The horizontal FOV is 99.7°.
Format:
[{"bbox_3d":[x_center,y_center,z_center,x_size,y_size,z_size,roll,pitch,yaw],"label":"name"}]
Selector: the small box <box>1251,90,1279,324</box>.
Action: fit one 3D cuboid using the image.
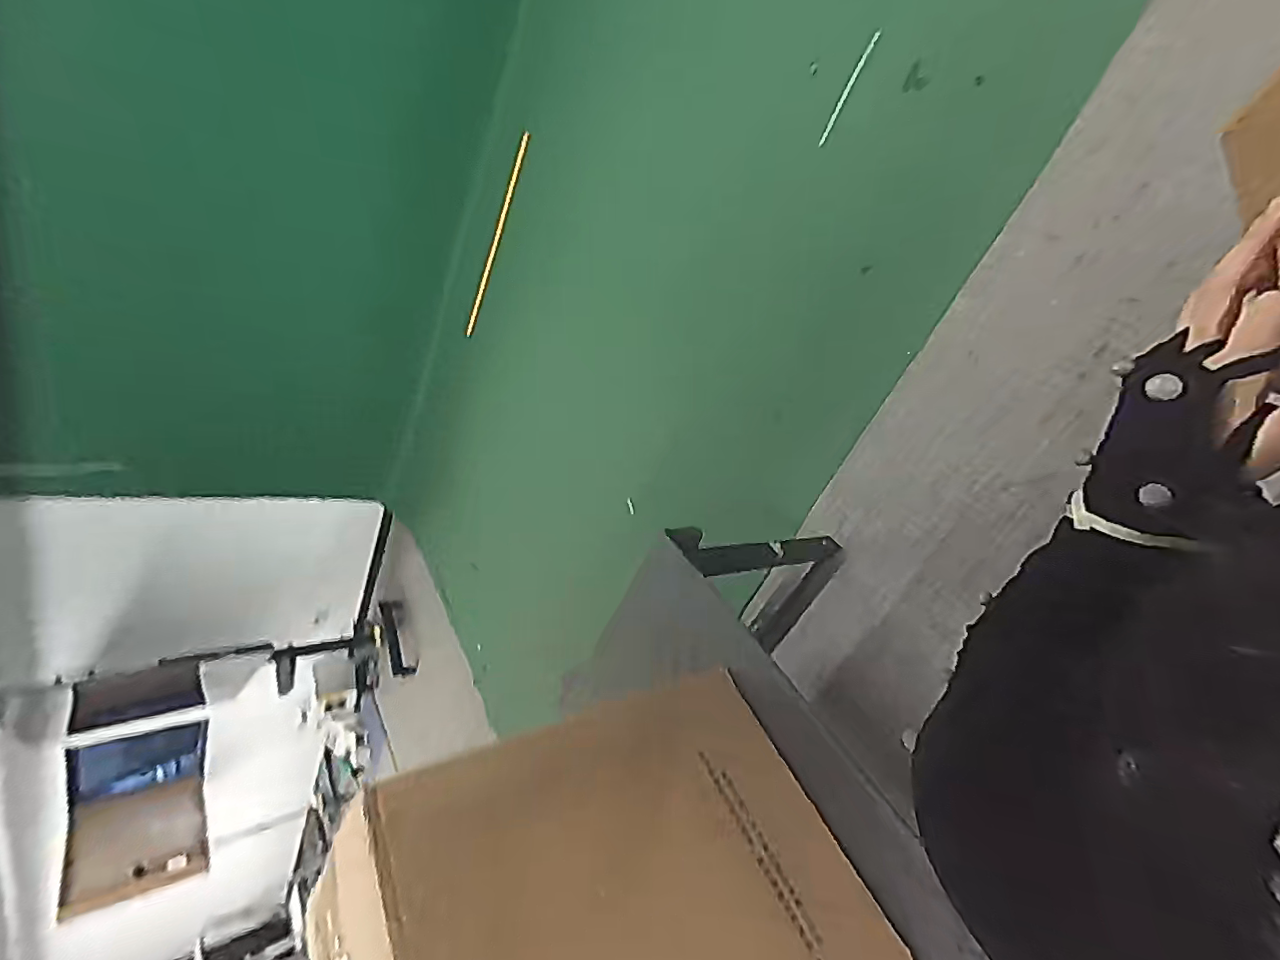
[{"bbox_3d":[0.414,-0.141,0.228,0.168,0.176,0.179,-13,97,36],"label":"small box"}]
